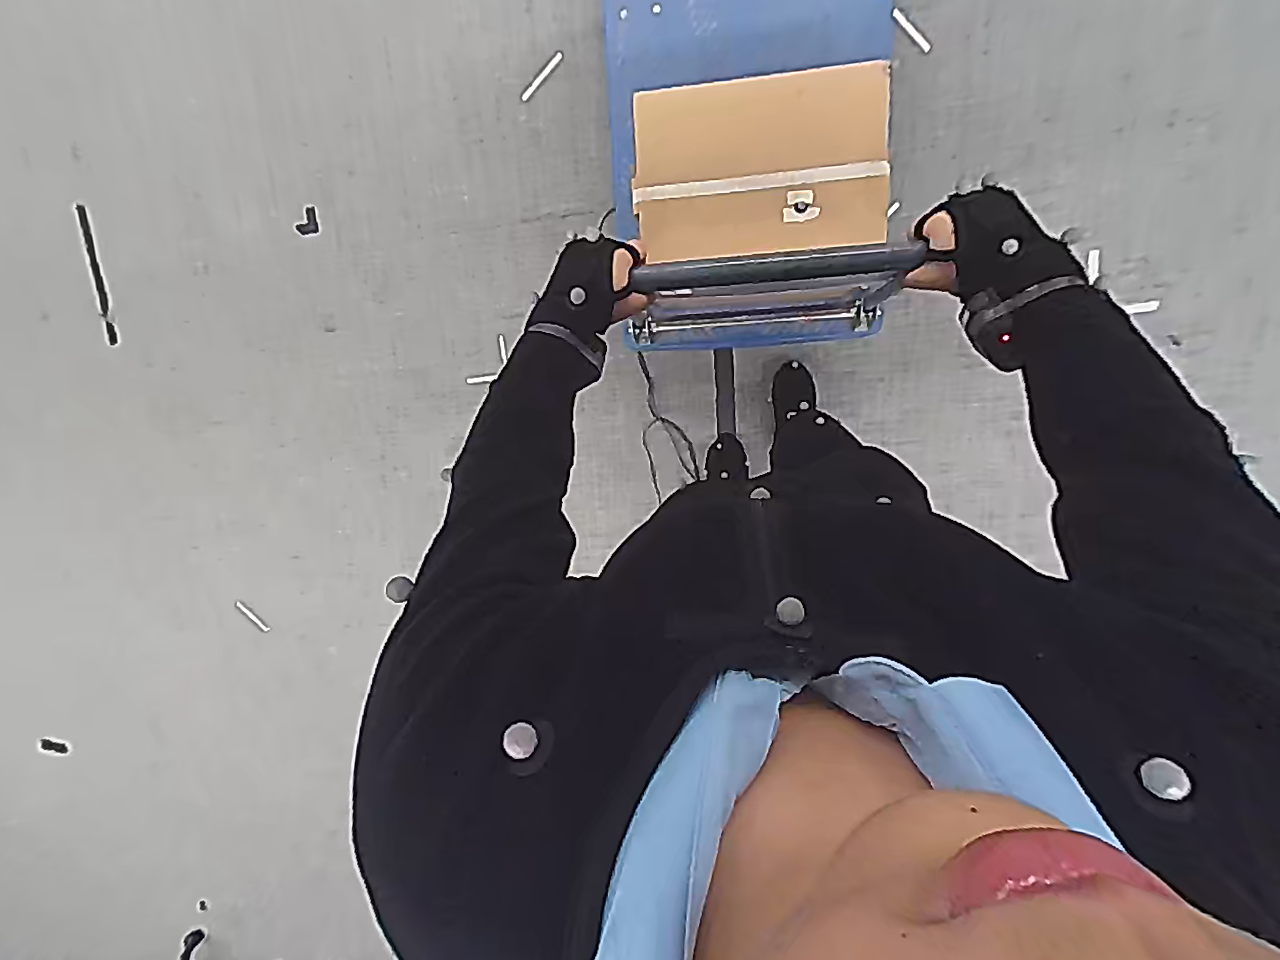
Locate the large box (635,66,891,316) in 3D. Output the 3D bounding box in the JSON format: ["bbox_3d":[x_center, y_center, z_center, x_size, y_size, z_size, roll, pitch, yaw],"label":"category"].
[{"bbox_3d":[0.216,-0.502,1.024,0.408,0.320,0.320,-2,102,8],"label":"large box"}]
